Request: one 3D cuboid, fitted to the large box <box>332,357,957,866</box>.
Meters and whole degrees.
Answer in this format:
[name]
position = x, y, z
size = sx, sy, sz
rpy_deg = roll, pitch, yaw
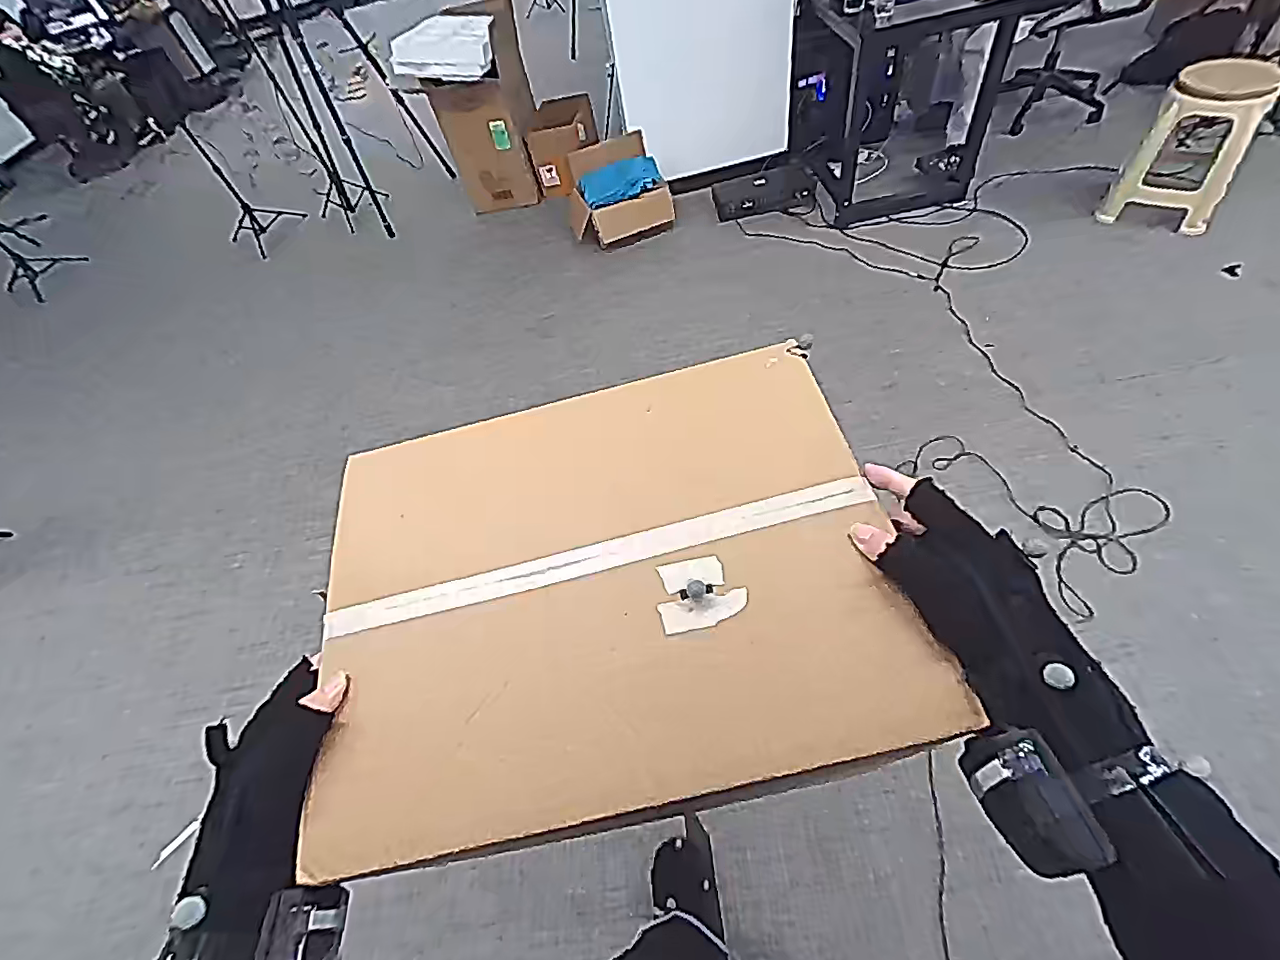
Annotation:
[large box]
position = -0.006, 0.140, 0.532
size = 0.408, 0.320, 0.320
rpy_deg = -14, 58, 2
